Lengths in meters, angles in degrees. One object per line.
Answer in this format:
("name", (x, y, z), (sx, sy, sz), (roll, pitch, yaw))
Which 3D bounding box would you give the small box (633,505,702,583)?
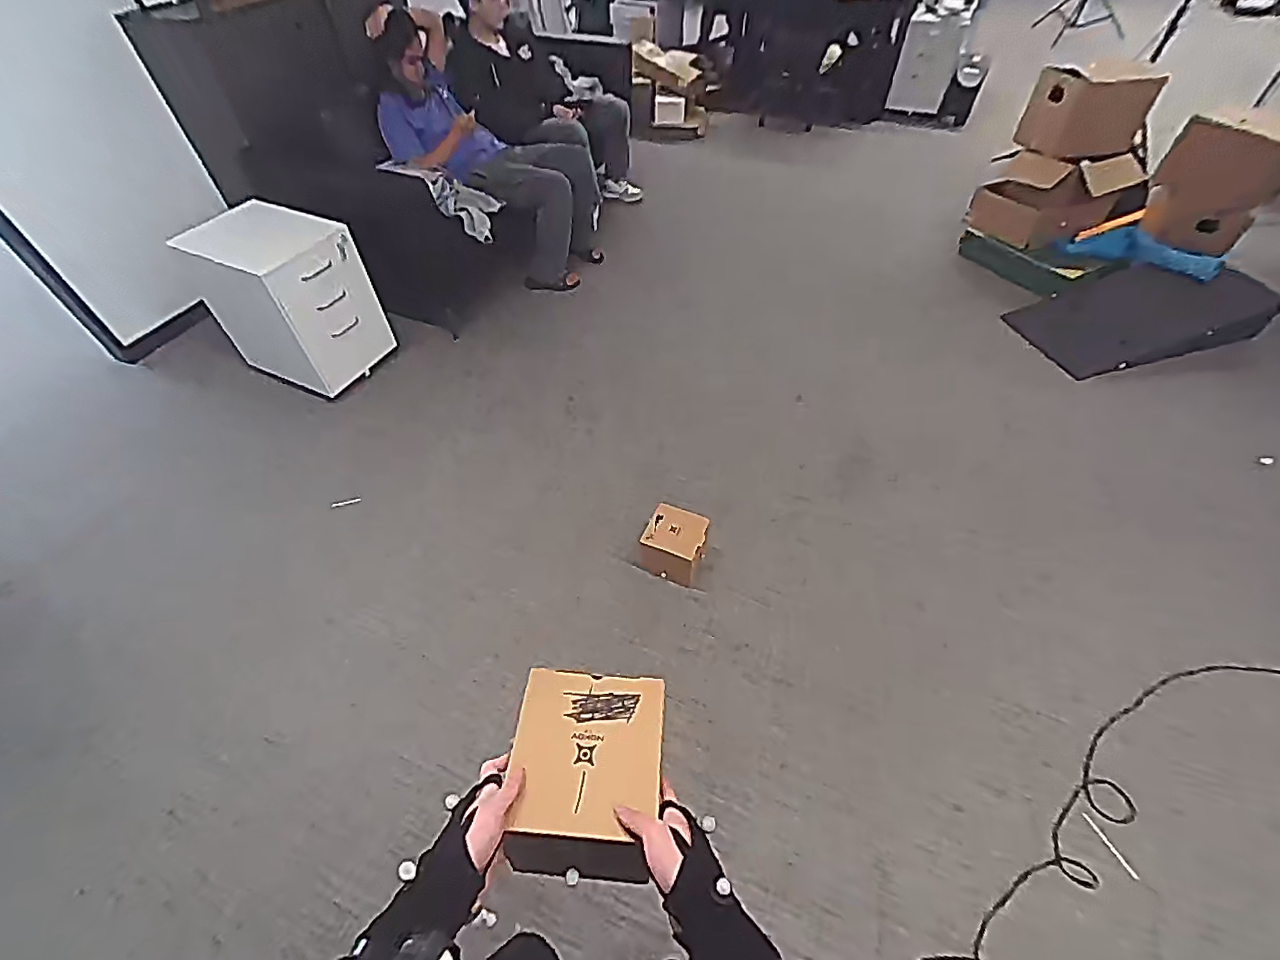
("small box", (0.088, 0.212, 1.746), (0.179, 0.176, 0.168), (18, 54, 14))

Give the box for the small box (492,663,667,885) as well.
("small box", (-0.062, 0.350, 0.647), (0.168, 0.176, 0.179), (6, 42, 4))
